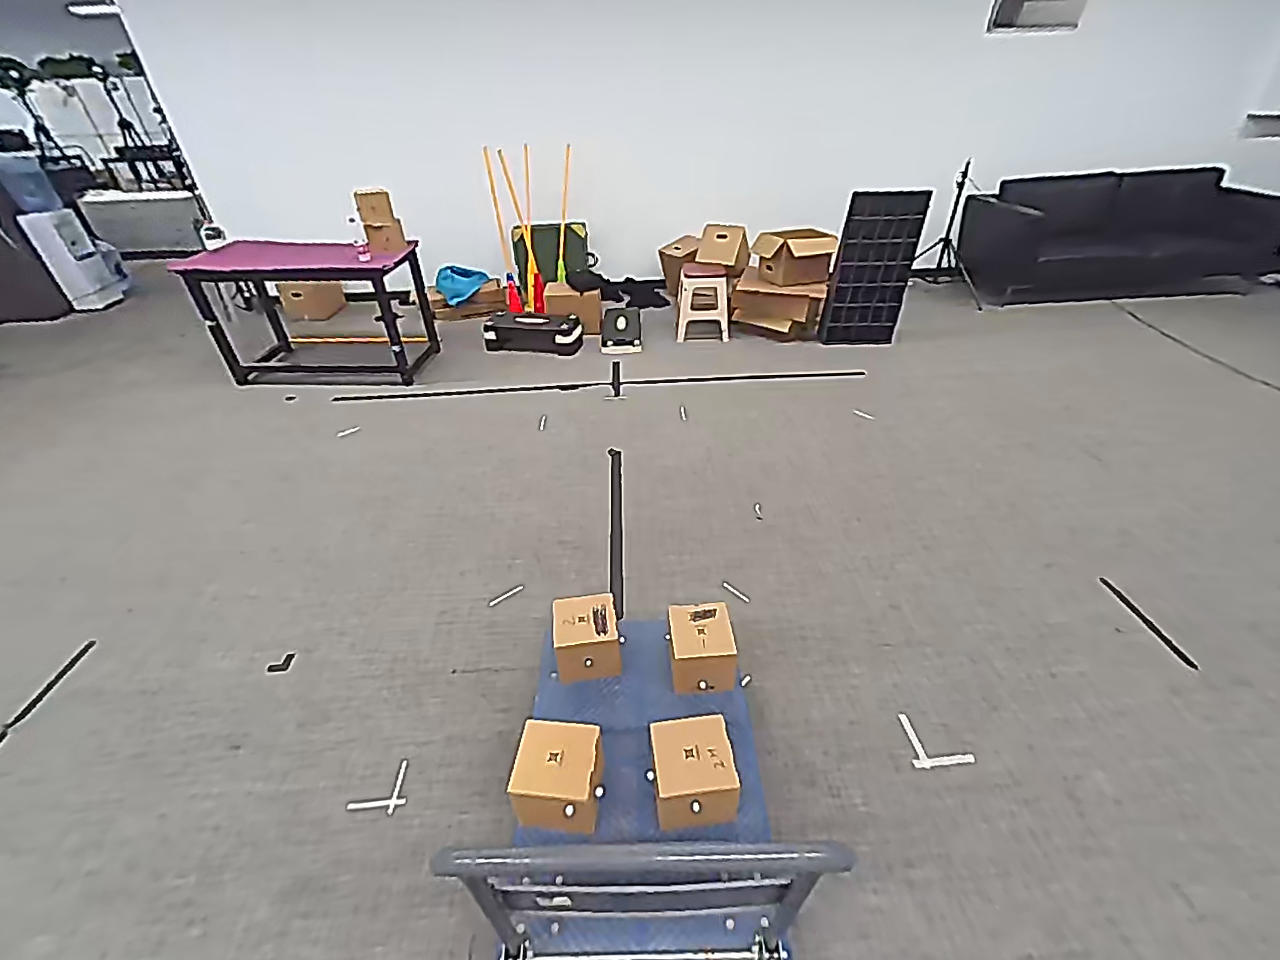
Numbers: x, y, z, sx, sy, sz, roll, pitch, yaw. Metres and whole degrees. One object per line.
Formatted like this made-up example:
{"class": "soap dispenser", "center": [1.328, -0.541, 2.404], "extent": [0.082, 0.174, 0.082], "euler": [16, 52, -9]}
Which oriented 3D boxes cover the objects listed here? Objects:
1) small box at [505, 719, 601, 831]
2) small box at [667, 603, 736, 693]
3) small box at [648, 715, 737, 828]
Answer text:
{"class": "small box", "center": [-0.189, 0.676, 1.237], "extent": [0.179, 0.176, 0.168], "euler": [3, 36, 4]}
{"class": "small box", "center": [0.164, 0.466, 1.504], "extent": [0.168, 0.176, 0.179], "euler": [-4, 37, -2]}
{"class": "small box", "center": [0.115, 0.668, 1.235], "extent": [0.179, 0.176, 0.168], "euler": [-5, 37, -4]}
